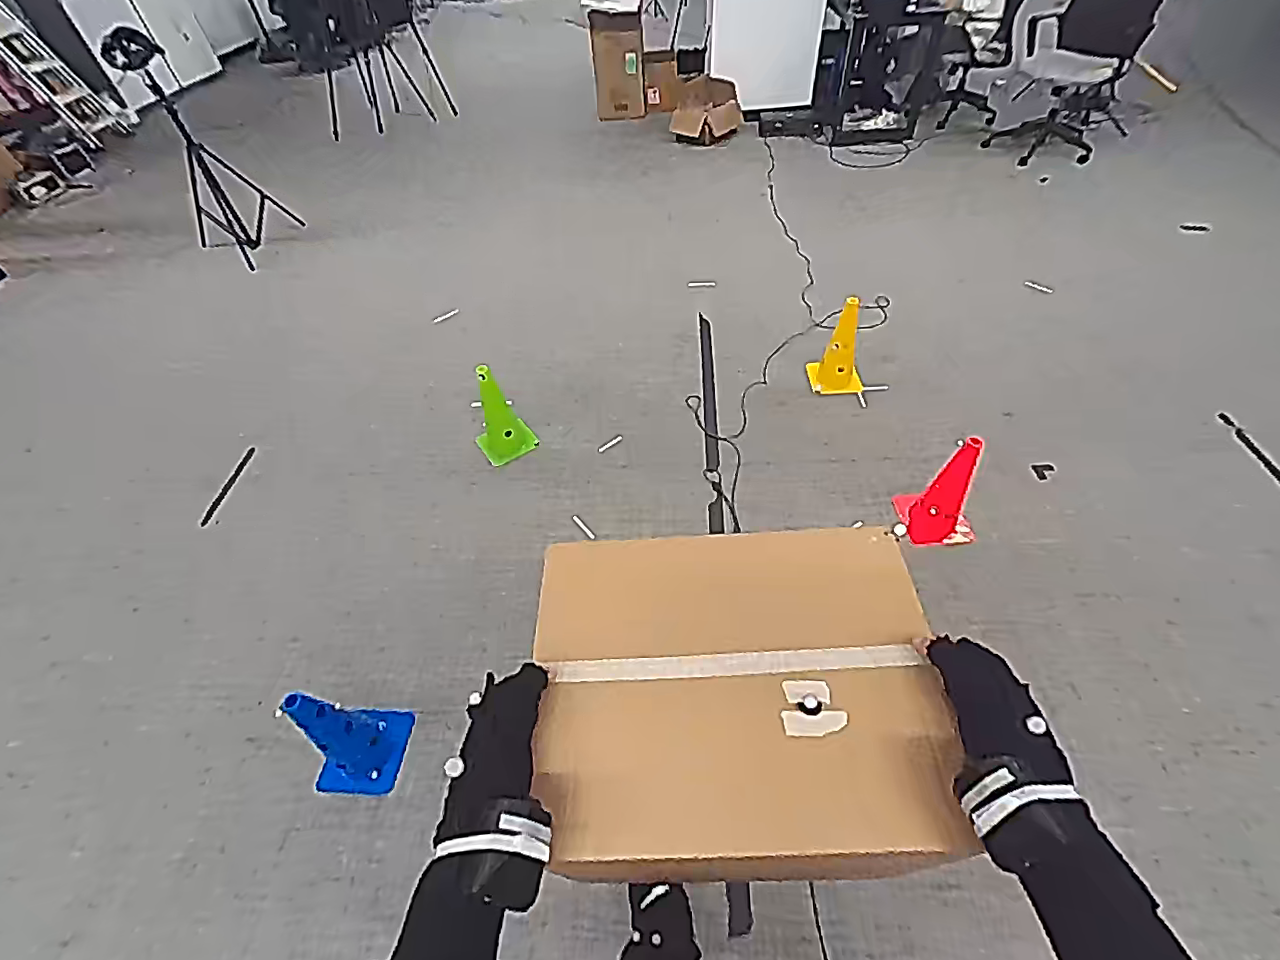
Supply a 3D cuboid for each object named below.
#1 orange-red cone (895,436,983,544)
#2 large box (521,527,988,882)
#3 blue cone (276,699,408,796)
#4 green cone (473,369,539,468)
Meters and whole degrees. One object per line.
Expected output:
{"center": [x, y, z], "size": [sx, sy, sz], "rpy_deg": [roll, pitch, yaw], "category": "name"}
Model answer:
{"center": [0.933, 0.009, 1.616], "size": [0.198, 0.360, 0.199], "rpy_deg": [-3, 47, 2], "category": "orange-red cone"}
{"center": [0.099, 0.282, 0.662], "size": [0.408, 0.320, 0.320], "rpy_deg": [-3, 50, 3], "category": "large box"}
{"center": [-0.721, 0.600, 1.274], "size": [0.192, 0.380, 0.193], "rpy_deg": [0, 48, 7], "category": "blue cone"}
{"center": [-0.535, -0.256, 1.990], "size": [0.202, 0.368, 0.200], "rpy_deg": [-32, 52, -19], "category": "green cone"}
